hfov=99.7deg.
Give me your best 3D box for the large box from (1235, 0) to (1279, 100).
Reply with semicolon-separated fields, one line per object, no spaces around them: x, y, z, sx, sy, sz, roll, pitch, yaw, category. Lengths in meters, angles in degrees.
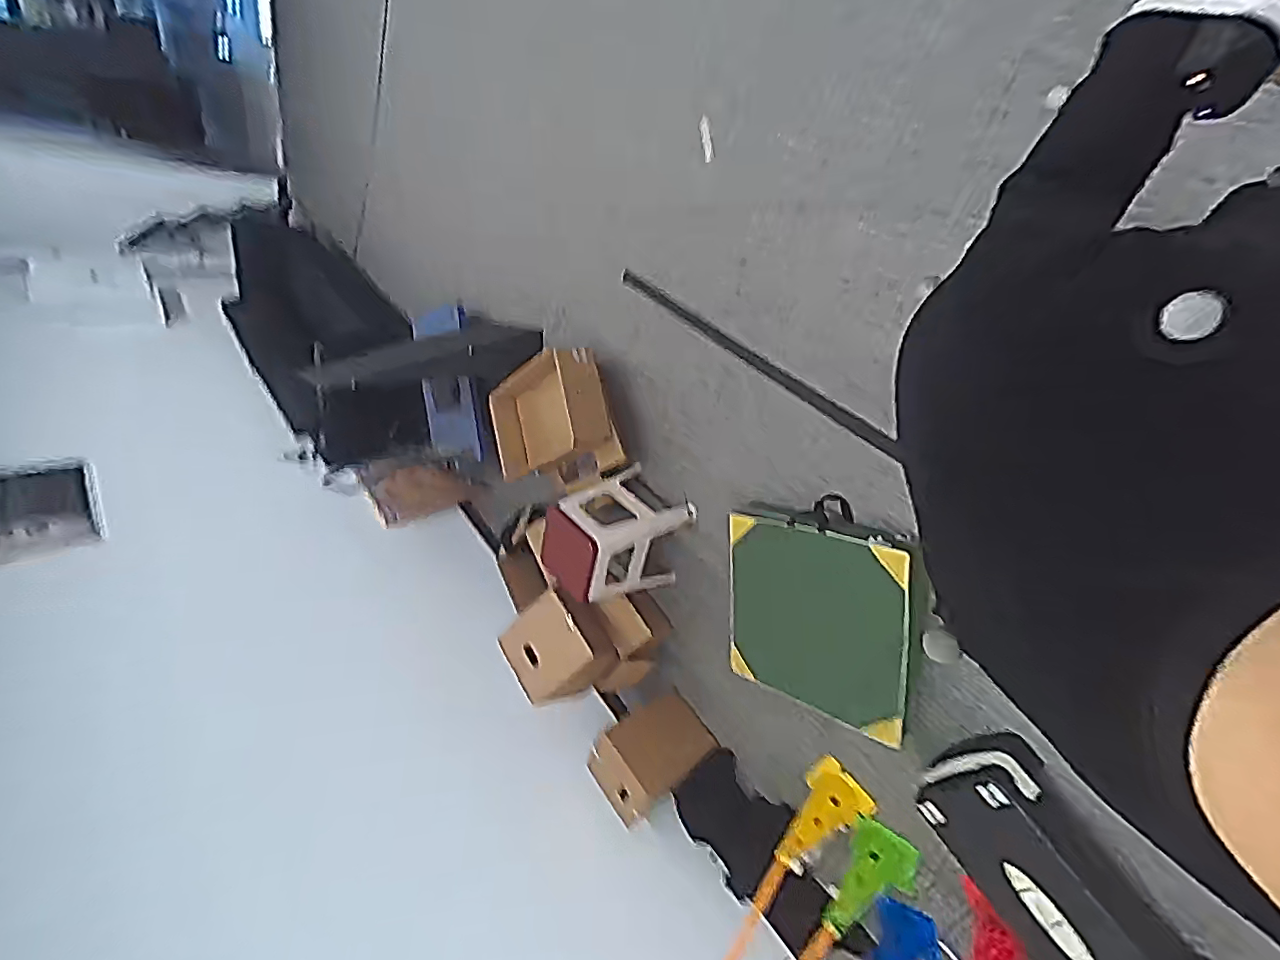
0.668;-0.371;0.272;0.408;0.320;0.320;36;133;29;large box
